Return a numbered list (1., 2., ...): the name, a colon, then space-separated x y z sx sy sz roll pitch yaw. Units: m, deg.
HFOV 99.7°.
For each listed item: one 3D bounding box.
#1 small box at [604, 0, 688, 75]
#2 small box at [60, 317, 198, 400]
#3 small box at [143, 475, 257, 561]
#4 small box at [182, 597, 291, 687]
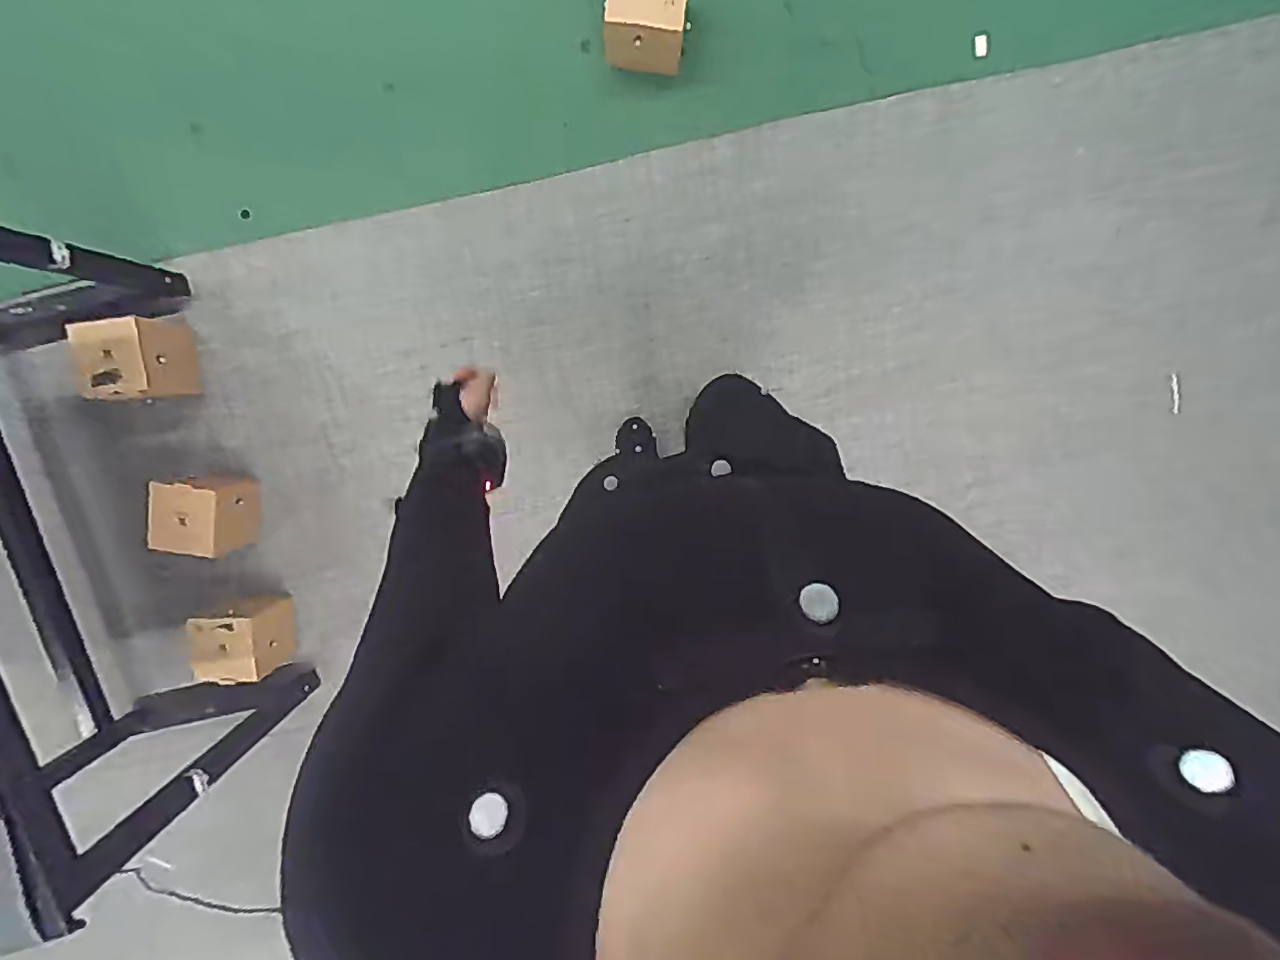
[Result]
1. small box: 0.018 -1.066 1.232 0.179 0.176 0.168 7 99 -2
2. small box: -1.244 -0.293 1.332 0.168 0.176 0.179 -7 98 0
3. small box: -1.124 0.090 1.392 0.168 0.176 0.179 8 100 -1
4. small box: -1.065 0.428 1.443 0.168 0.176 0.179 0 99 -1
